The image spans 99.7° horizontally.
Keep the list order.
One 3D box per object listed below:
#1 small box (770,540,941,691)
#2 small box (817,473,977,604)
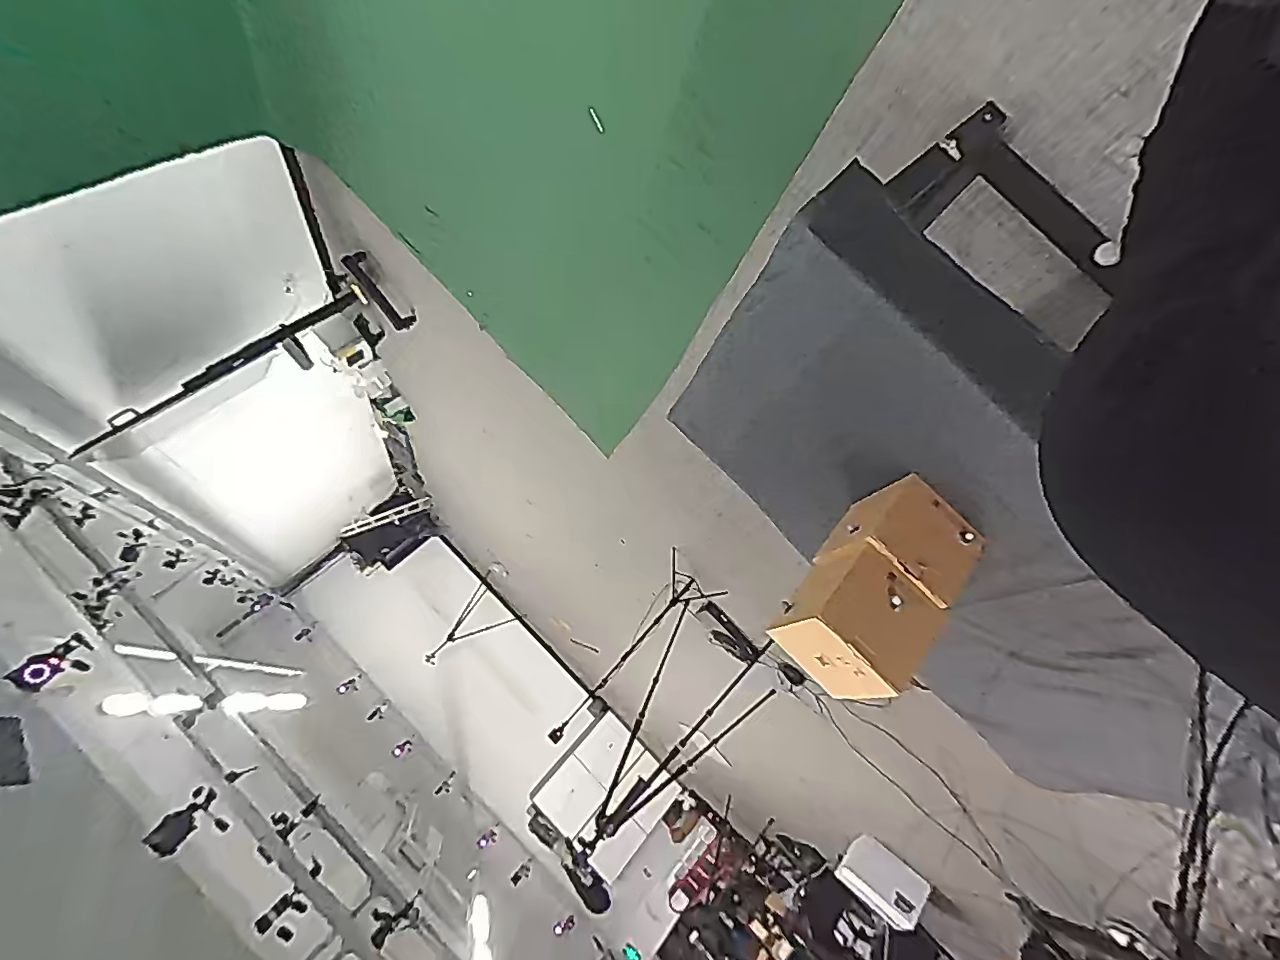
[{"bbox_3d":[0.360,0.230,0.909,0.168,0.176,0.179,44,153,6],"label":"small box"},{"bbox_3d":[0.463,0.115,0.969,0.168,0.176,0.179,45,155,5],"label":"small box"}]
